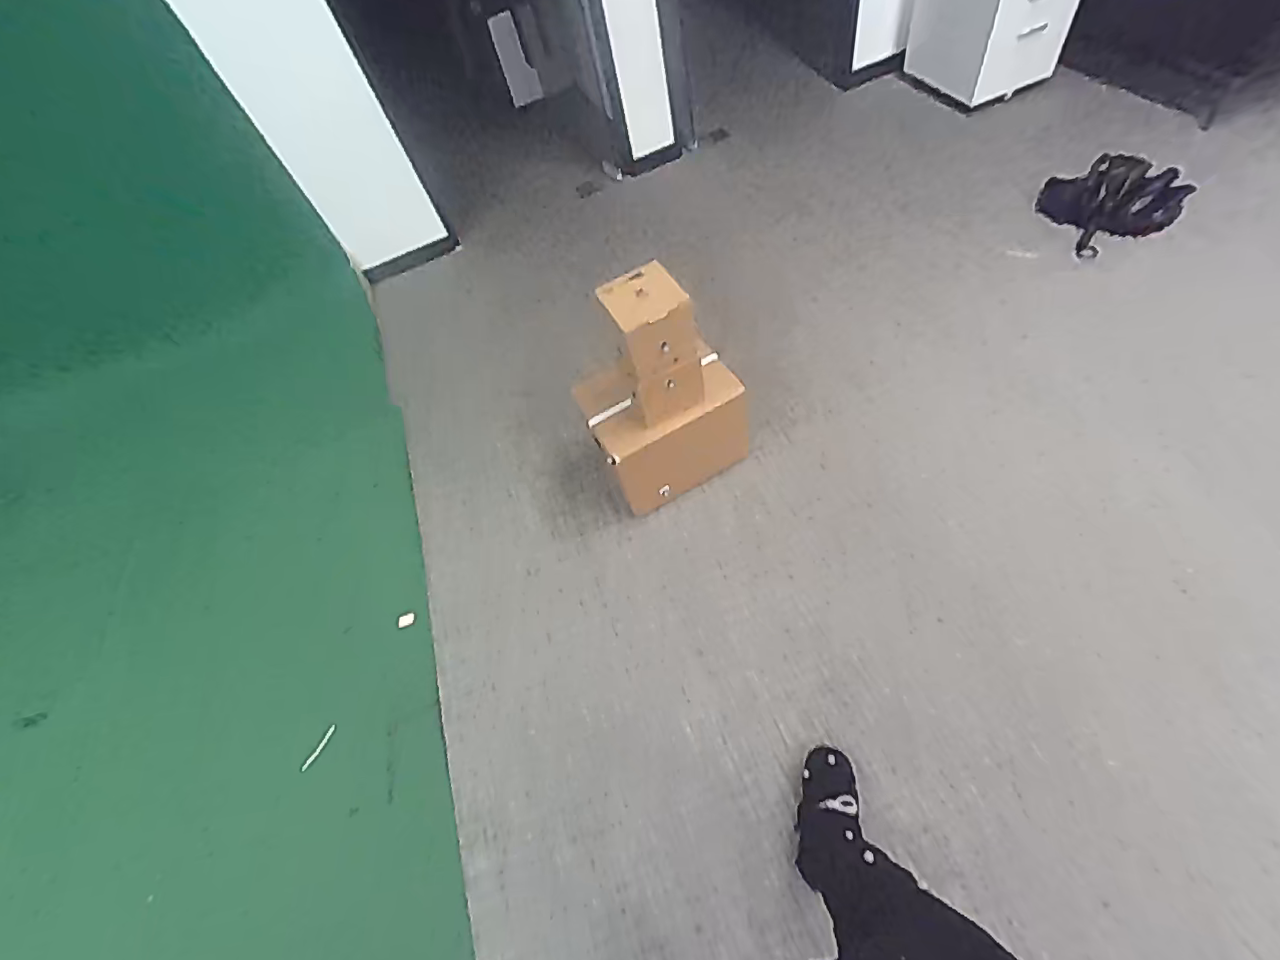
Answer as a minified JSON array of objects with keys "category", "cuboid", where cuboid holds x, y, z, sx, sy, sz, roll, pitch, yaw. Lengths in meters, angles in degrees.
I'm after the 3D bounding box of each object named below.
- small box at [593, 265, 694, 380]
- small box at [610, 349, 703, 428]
[{"category":"small box","cuboid":[0.015,-0.358,1.266,0.168,0.176,0.179,-27,57,-5]},{"category":"small box","cuboid":[0.047,-0.265,1.396,0.179,0.176,0.168,-27,57,-6]}]
